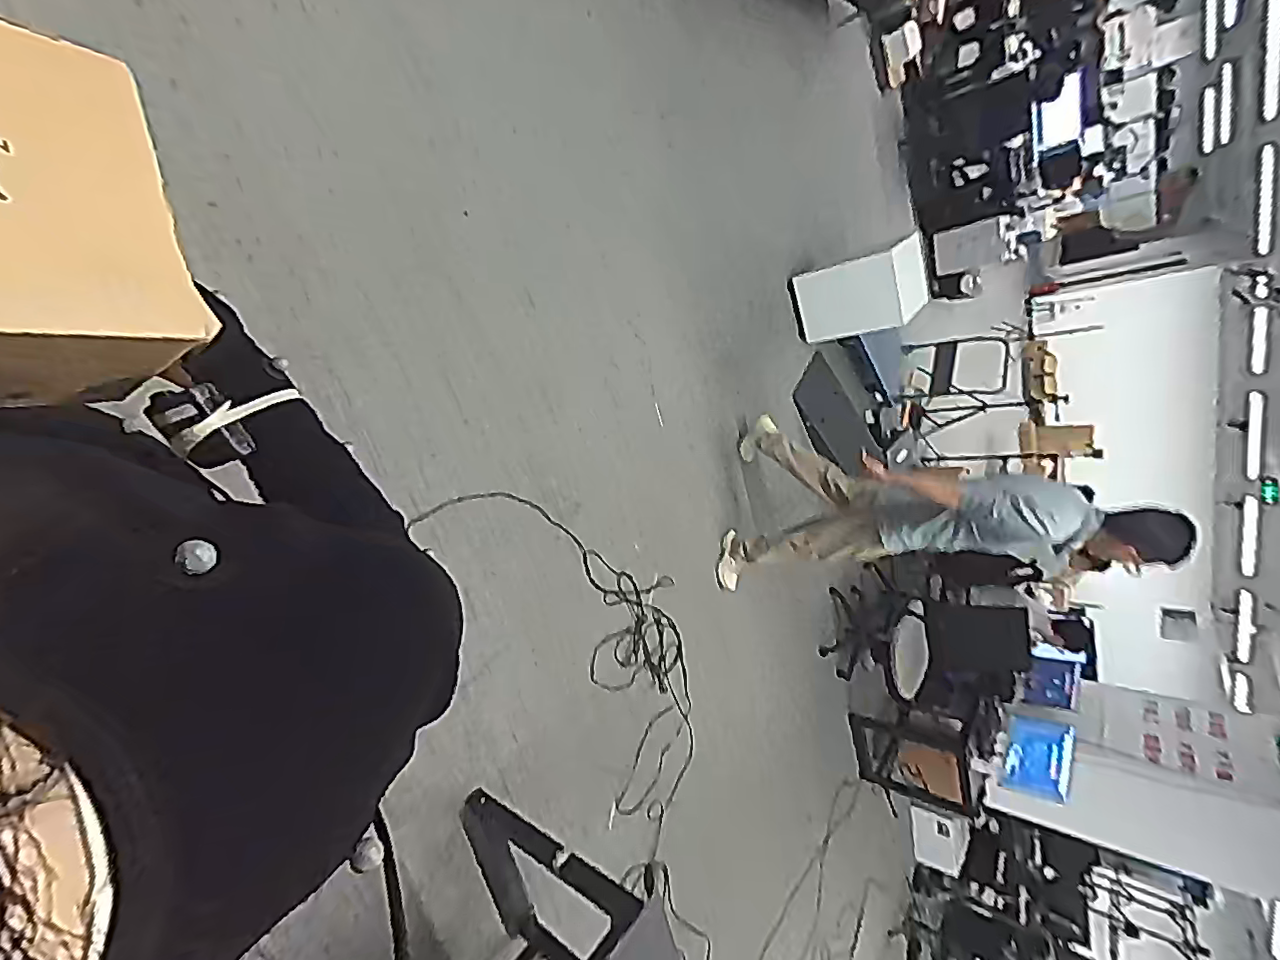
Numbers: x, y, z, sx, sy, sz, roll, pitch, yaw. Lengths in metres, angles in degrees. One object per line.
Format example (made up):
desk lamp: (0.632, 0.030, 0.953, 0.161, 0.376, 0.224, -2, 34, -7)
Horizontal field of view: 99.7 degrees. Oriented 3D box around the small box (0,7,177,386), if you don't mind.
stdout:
small box: (-0.414, -0.152, 0.307, 0.168, 0.176, 0.179, -20, 99, -58)
